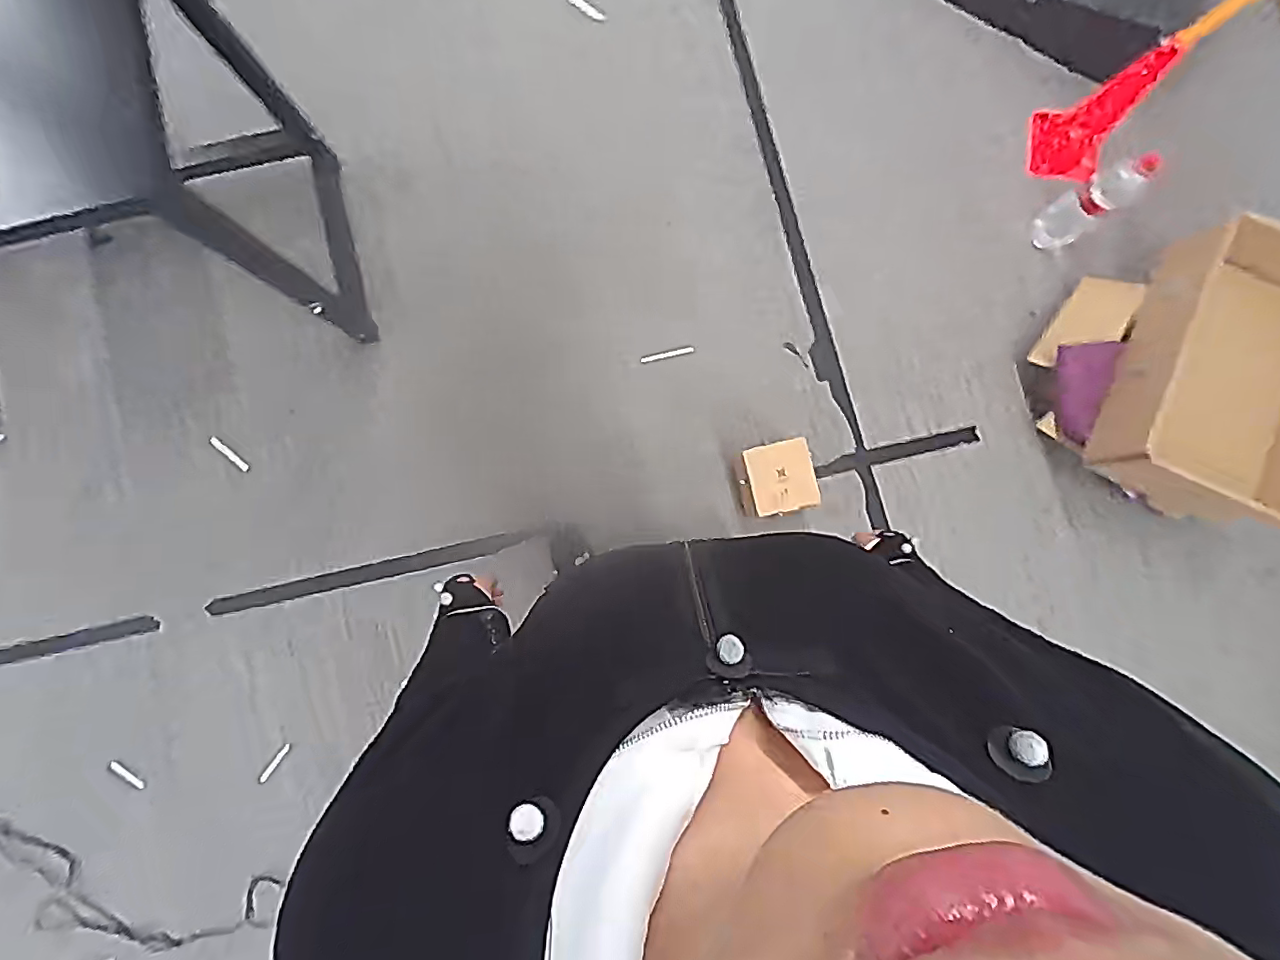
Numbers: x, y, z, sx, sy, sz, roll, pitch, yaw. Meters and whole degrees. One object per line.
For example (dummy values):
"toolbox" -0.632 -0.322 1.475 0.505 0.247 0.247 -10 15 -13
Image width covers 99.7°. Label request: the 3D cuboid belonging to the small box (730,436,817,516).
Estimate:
"small box" 0.347 -0.004 1.443 0.168 0.176 0.179 -13 87 -1
